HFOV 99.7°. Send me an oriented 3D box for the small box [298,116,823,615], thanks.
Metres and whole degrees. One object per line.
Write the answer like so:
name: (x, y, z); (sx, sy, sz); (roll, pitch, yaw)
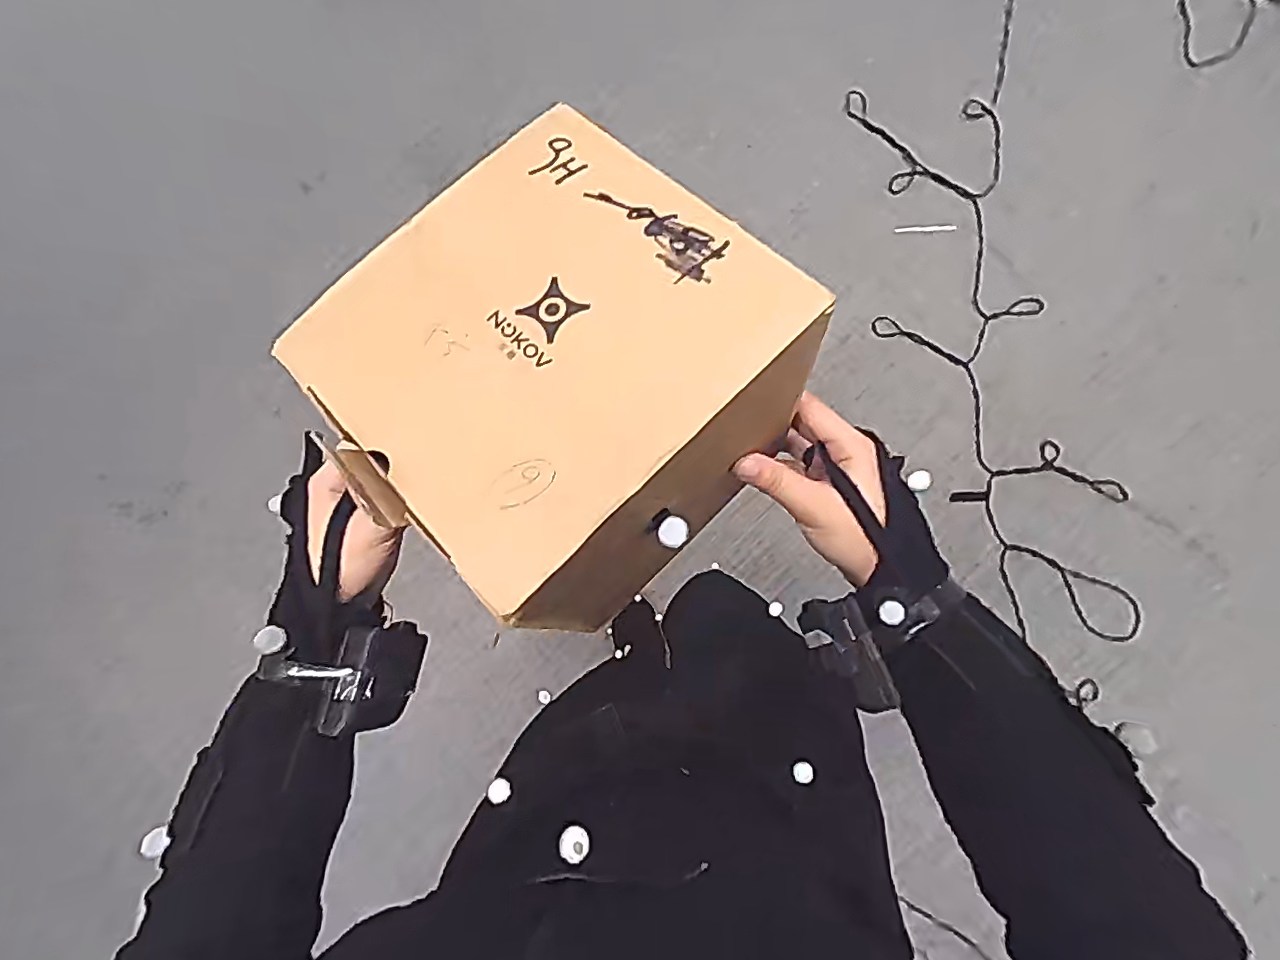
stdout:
small box: (-0.029, -0.040, 0.304); (0.179, 0.176, 0.168); (-44, 73, -6)
